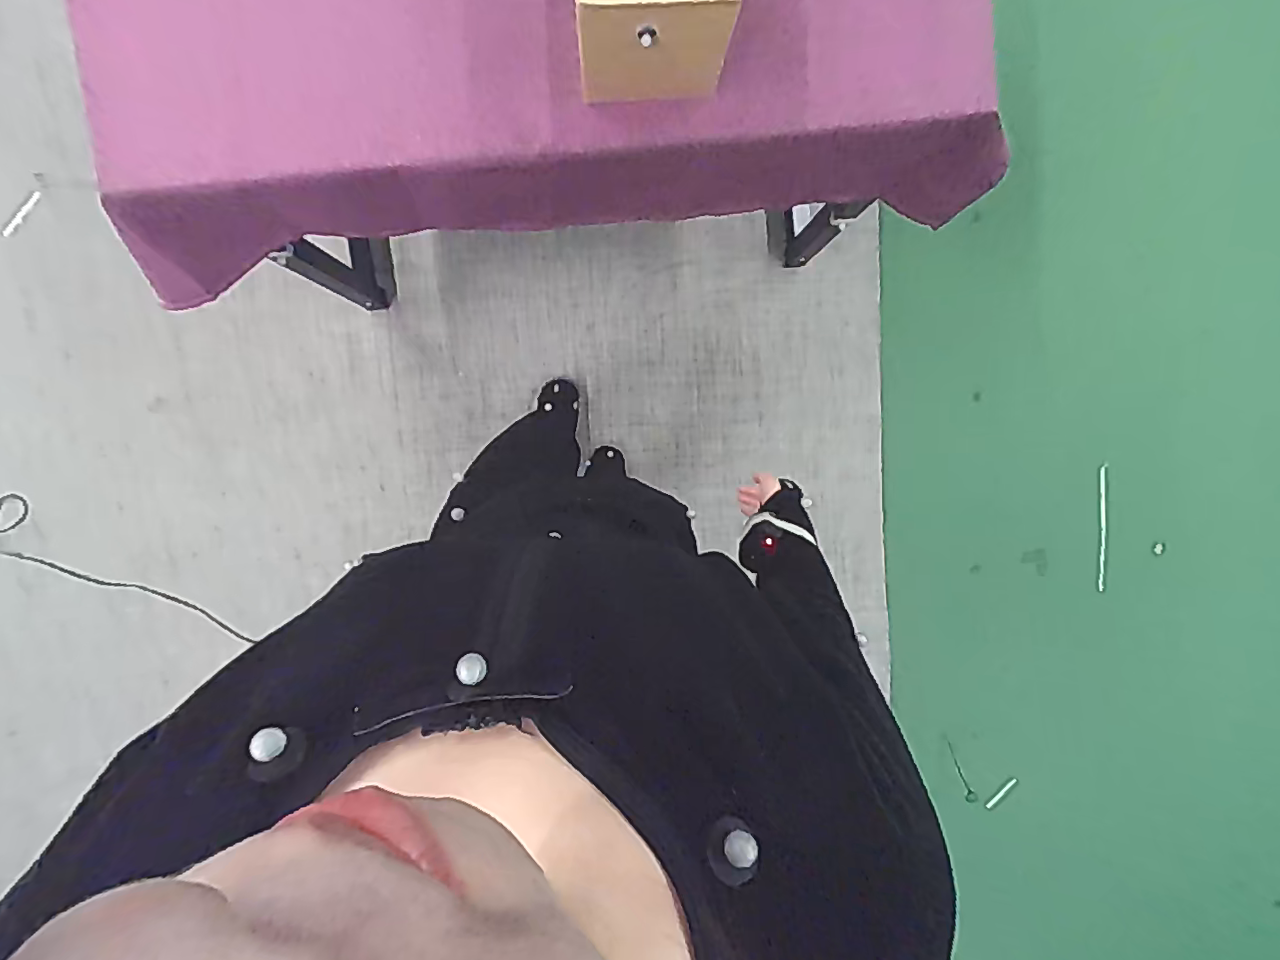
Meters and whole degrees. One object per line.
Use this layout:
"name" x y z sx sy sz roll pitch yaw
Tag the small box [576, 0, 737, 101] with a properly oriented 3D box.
"small box" 0.011 -0.583 0.640 0.179 0.176 0.168 -5 95 -3
